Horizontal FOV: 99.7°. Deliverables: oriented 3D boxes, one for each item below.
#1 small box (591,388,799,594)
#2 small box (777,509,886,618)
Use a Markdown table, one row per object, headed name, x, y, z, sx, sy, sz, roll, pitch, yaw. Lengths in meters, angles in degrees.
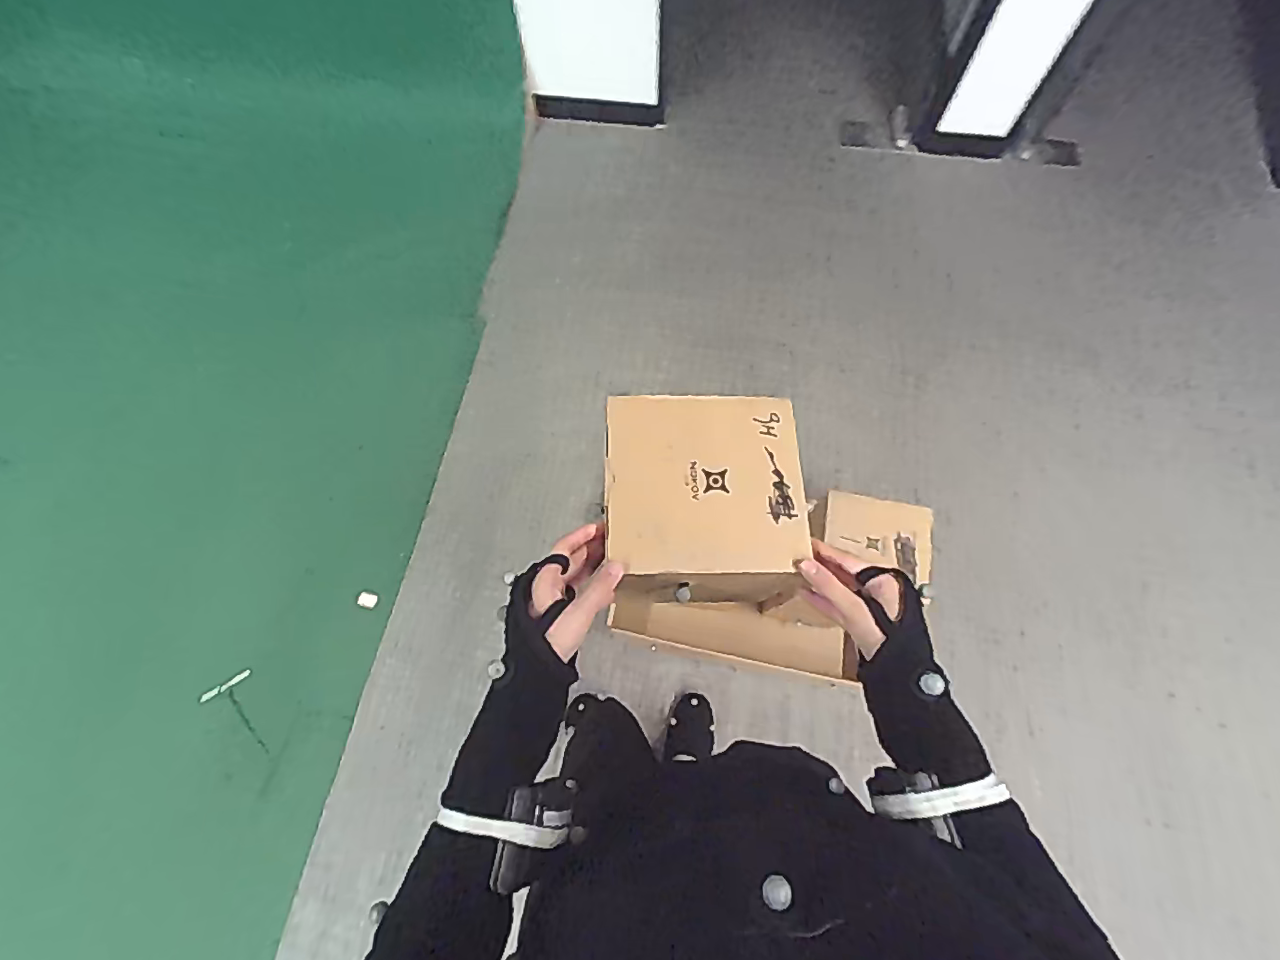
| name | x | y | z | sx | sy | sz | roll | pitch | yaw |
| --- | --- | --- | --- | --- | --- | --- | --- | --- | --- |
| small box | 0.043 | 0.021 | 0.549 | 0.179 | 0.176 | 0.168 | 0 | 69 | -3 |
| small box | 0.390 | 0.180 | 1.123 | 0.168 | 0.176 | 0.179 | 11 | 70 | 5 |
